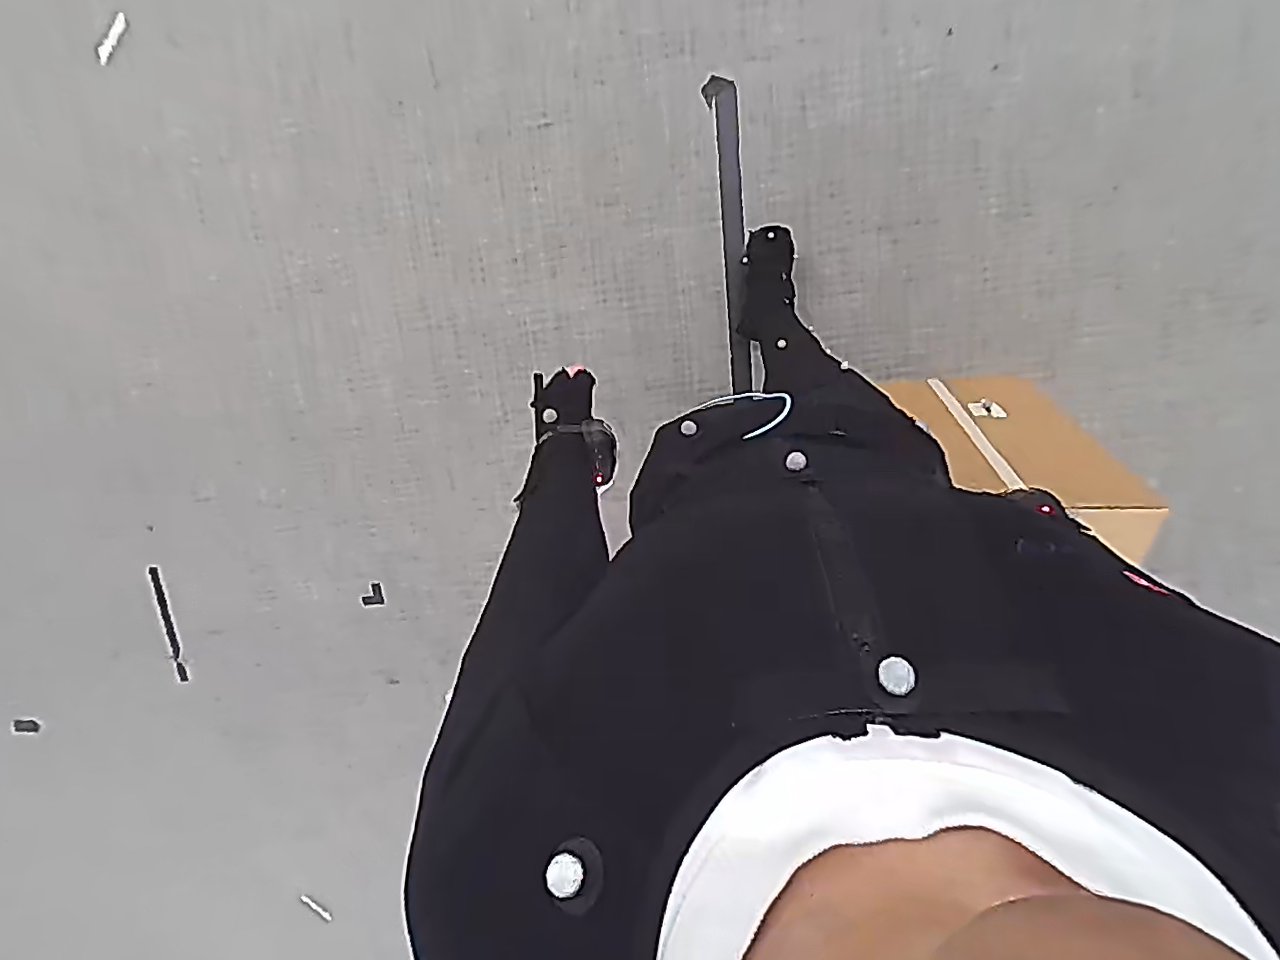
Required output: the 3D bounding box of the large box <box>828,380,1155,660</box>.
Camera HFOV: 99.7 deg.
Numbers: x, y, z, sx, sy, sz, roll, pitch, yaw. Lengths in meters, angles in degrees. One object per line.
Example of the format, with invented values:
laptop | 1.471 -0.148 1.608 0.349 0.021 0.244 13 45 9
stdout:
large box | 0.527 0.052 0.931 0.320 0.408 0.320 0 122 8
